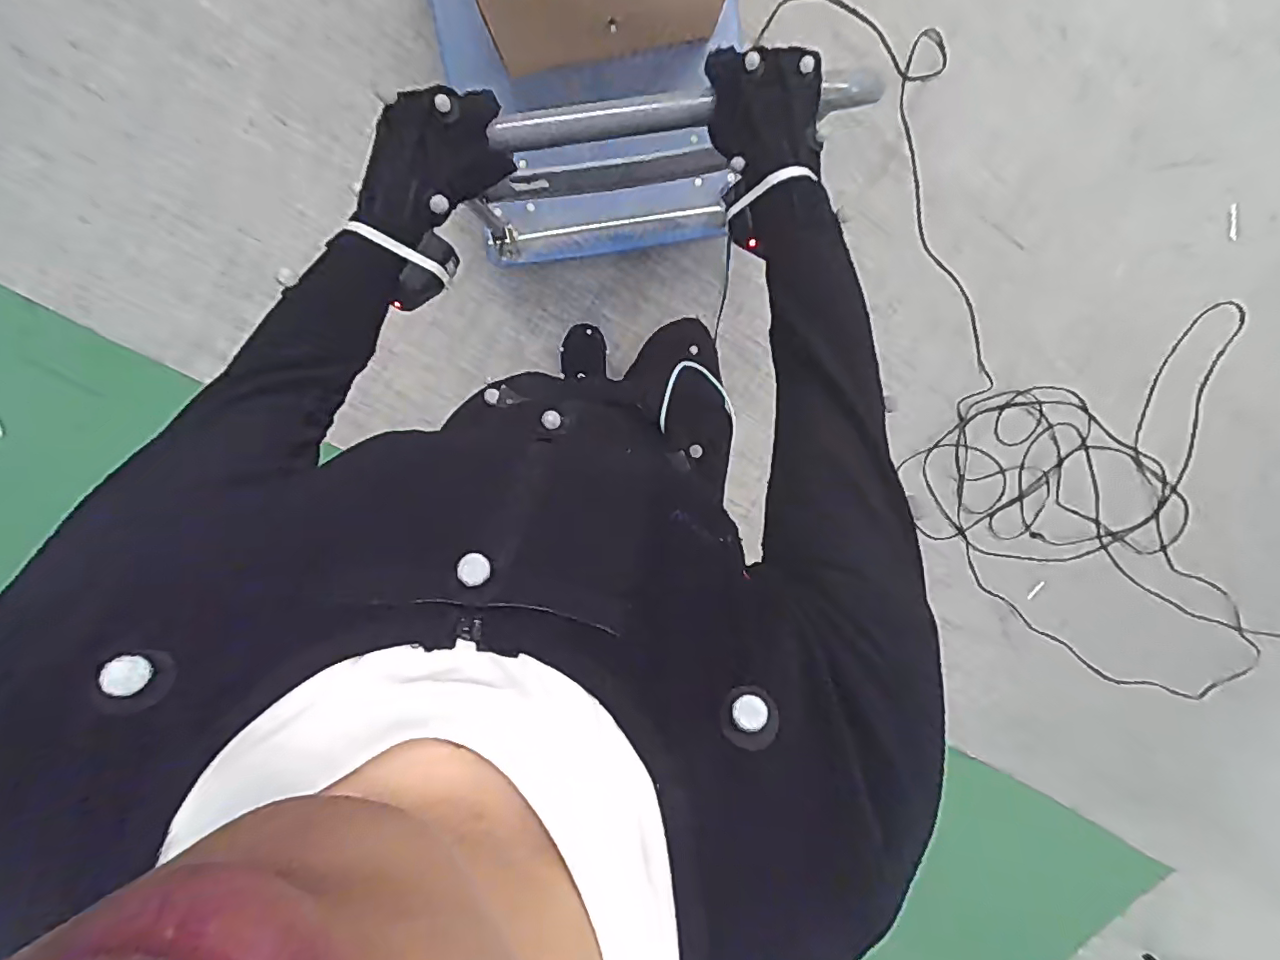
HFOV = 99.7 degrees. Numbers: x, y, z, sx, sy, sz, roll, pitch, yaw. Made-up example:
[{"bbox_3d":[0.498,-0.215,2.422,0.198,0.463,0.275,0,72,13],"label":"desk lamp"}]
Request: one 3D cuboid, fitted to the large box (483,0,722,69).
[{"bbox_3d":[-0.073,-0.927,0.859,0.408,0.320,0.320,-12,108,1],"label":"large box"}]
